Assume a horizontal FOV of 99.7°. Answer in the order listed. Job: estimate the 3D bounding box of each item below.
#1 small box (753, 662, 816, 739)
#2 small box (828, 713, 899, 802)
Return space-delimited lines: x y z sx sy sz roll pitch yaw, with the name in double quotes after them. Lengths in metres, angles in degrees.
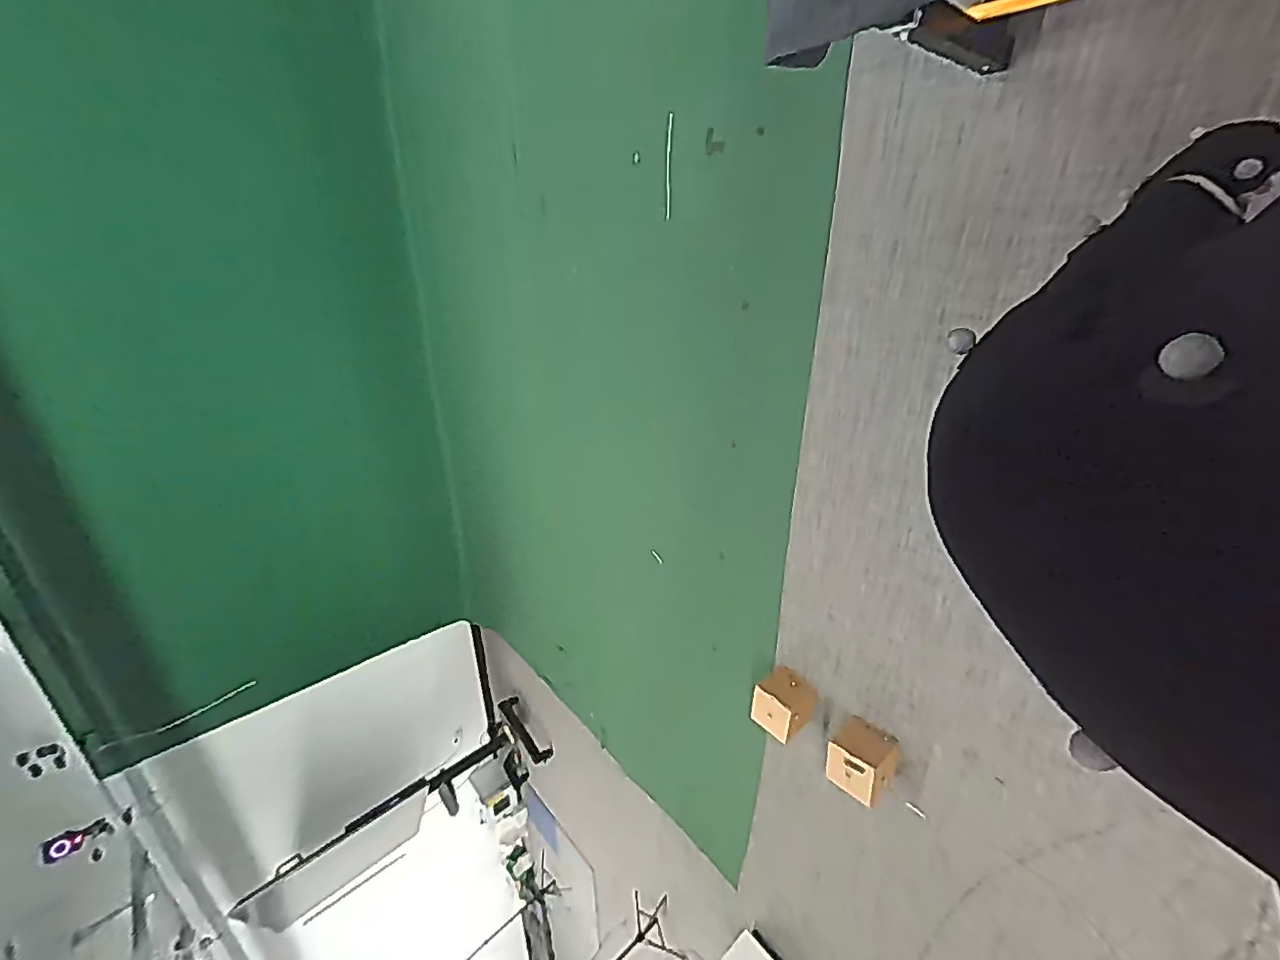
0.557 0.843 2.081 0.168 0.176 0.179 26 125 42 "small box"
0.769 0.944 1.858 0.168 0.176 0.179 20 122 46 "small box"
